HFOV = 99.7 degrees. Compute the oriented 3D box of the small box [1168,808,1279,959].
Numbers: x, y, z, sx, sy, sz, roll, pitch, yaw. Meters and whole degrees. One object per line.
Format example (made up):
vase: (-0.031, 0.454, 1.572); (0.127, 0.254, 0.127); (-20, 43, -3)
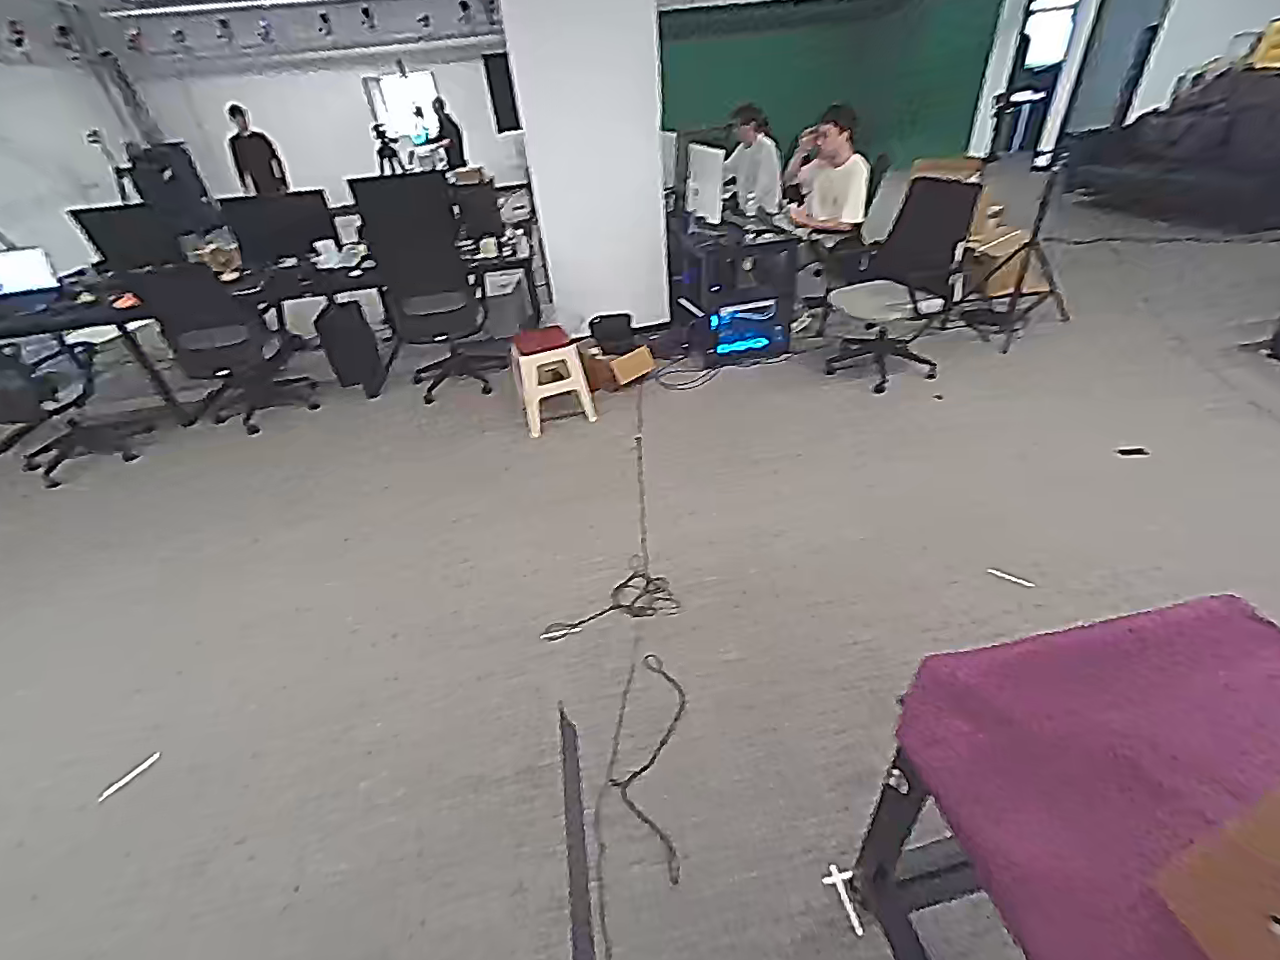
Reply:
small box: (0.688, 0.437, 0.520); (0.168, 0.176, 0.179); (-11, 37, -5)
